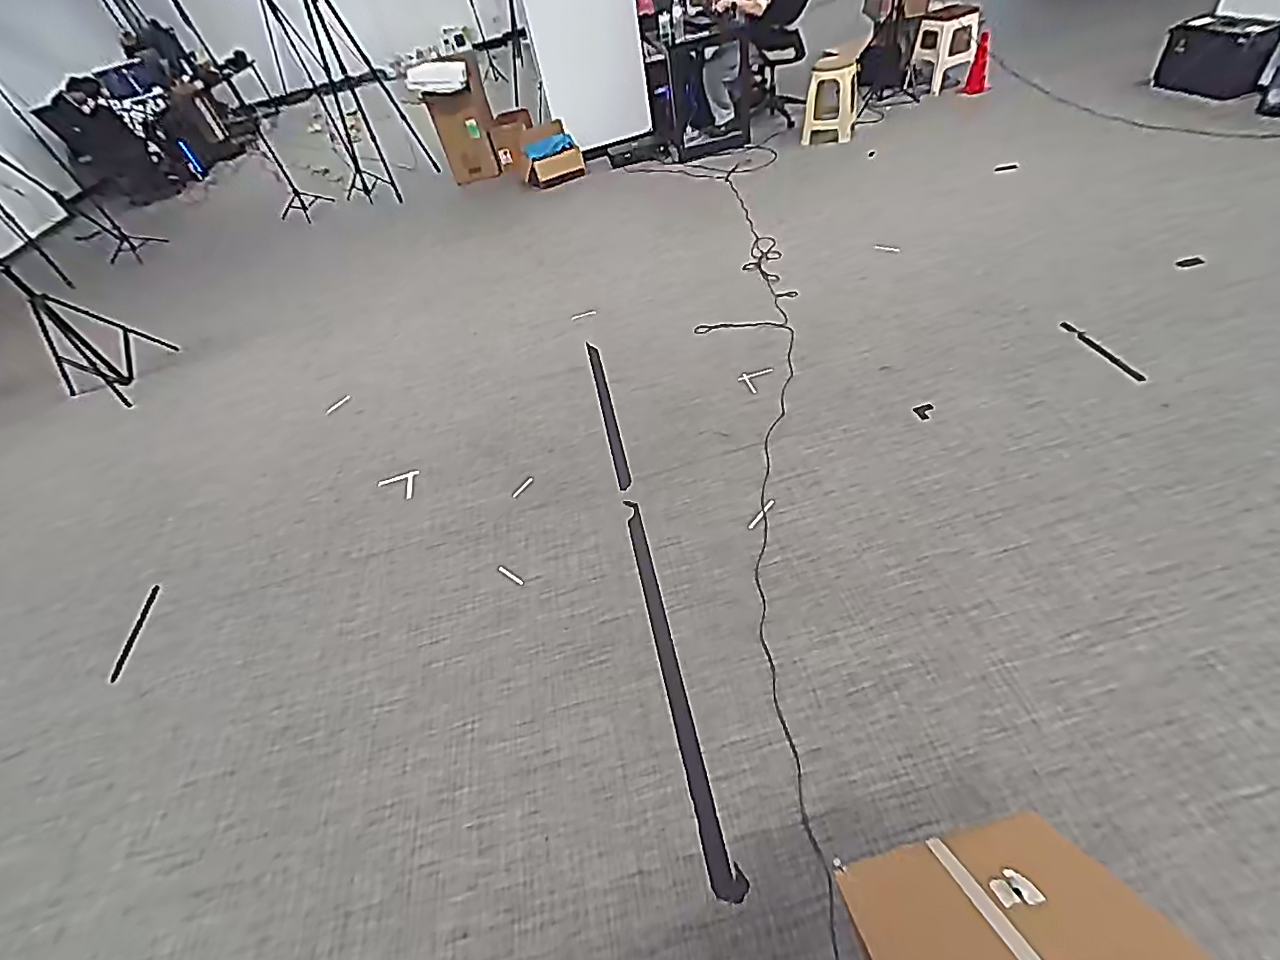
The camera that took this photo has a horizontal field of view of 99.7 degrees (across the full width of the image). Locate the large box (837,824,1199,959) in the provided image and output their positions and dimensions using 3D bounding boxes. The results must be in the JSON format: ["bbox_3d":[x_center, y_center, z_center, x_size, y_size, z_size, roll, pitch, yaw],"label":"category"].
[{"bbox_3d":[0.481,0.688,0.606,0.320,0.408,0.320,-17,84,1],"label":"large box"}]
